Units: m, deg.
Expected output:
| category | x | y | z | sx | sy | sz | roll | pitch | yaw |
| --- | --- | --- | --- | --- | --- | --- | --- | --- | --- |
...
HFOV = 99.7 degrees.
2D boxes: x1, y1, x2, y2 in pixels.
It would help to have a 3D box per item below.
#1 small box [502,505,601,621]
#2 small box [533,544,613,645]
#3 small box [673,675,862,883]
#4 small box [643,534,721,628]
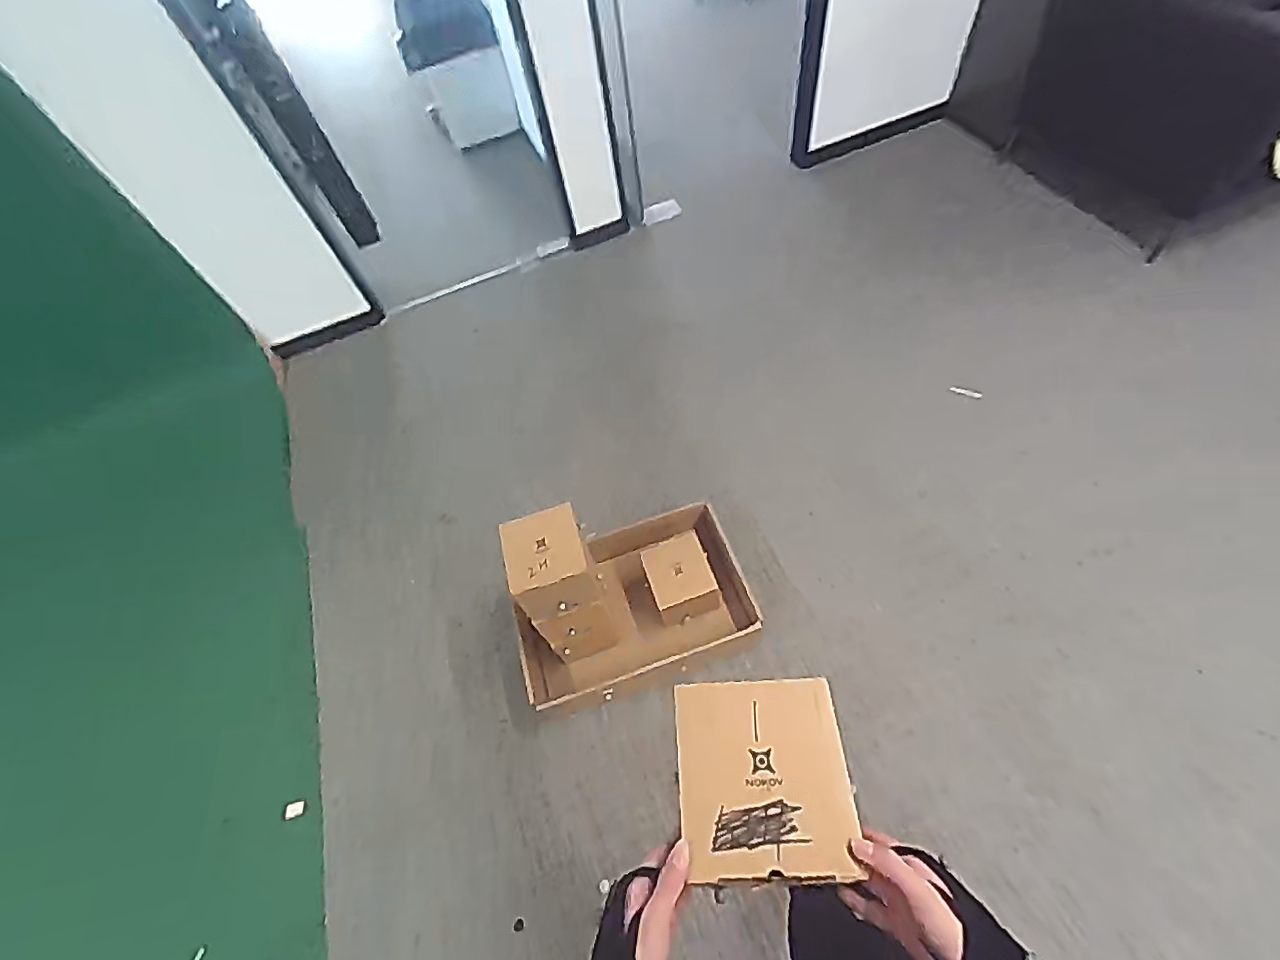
| category | x | y | z | sx | sy | sz | roll | pitch | yaw |
| --- | --- | --- | --- | --- | --- | --- | --- | --- | --- |
| small box | -0.194 | 0.189 | 1.208 | 0.168 | 0.176 | 0.179 | -18 | 56 | -3 |
| small box | -0.176 | 0.283 | 1.342 | 0.168 | 0.176 | 0.179 | -18 | 57 | -4 |
| small box | 0.126 | 0.331 | 0.592 | 0.168 | 0.176 | 0.179 | -4 | 50 | 5 |
| small box | 0.116 | 0.282 | 1.490 | 0.168 | 0.176 | 0.179 | -19 | 58 | -2 |
